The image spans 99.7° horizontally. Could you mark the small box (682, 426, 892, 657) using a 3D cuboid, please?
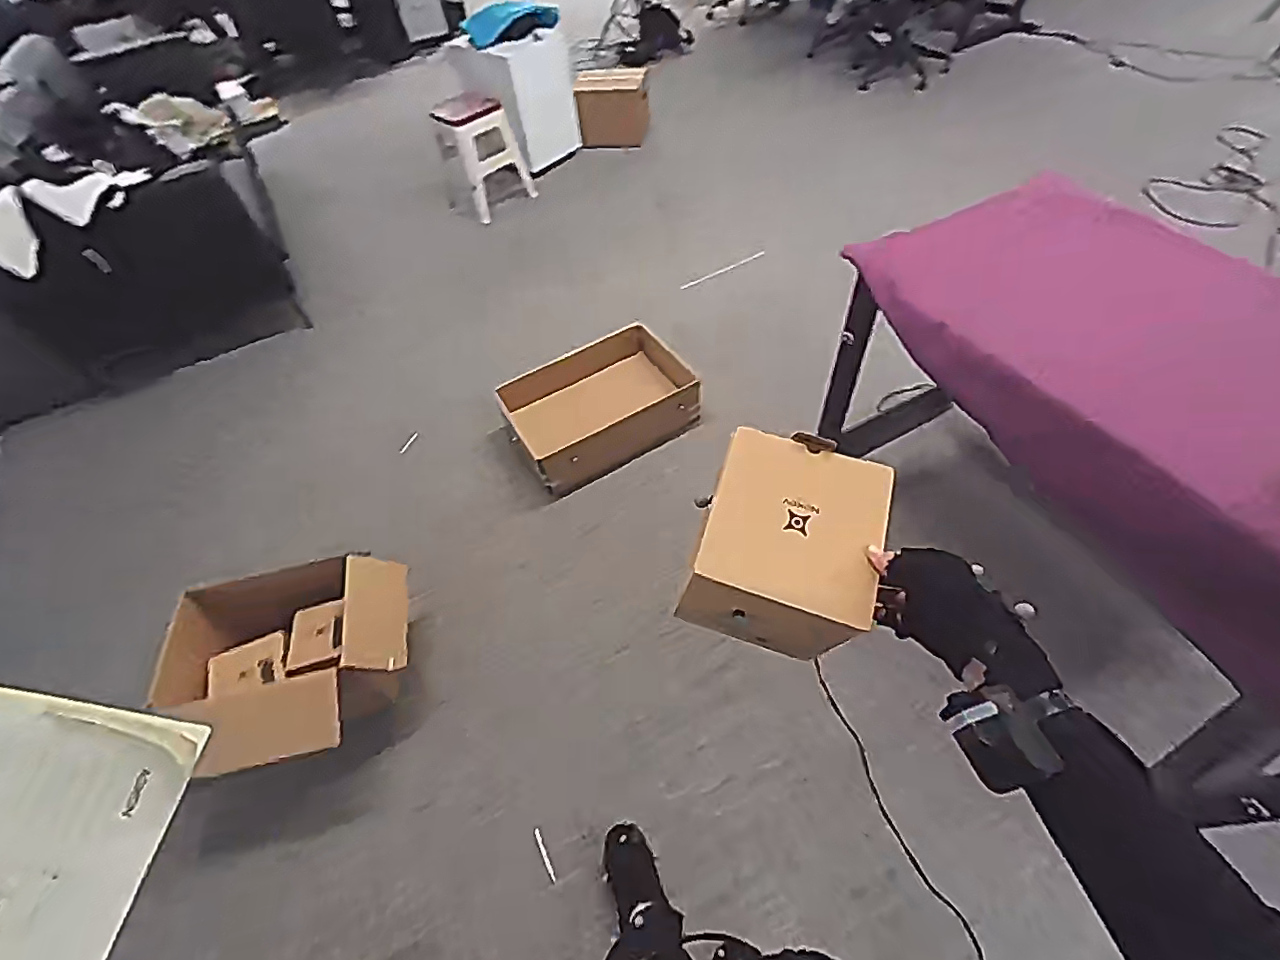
[{"bbox_3d":[0.150,0.076,0.593,0.168,0.176,0.179,18,61,6],"label":"small box"}]
